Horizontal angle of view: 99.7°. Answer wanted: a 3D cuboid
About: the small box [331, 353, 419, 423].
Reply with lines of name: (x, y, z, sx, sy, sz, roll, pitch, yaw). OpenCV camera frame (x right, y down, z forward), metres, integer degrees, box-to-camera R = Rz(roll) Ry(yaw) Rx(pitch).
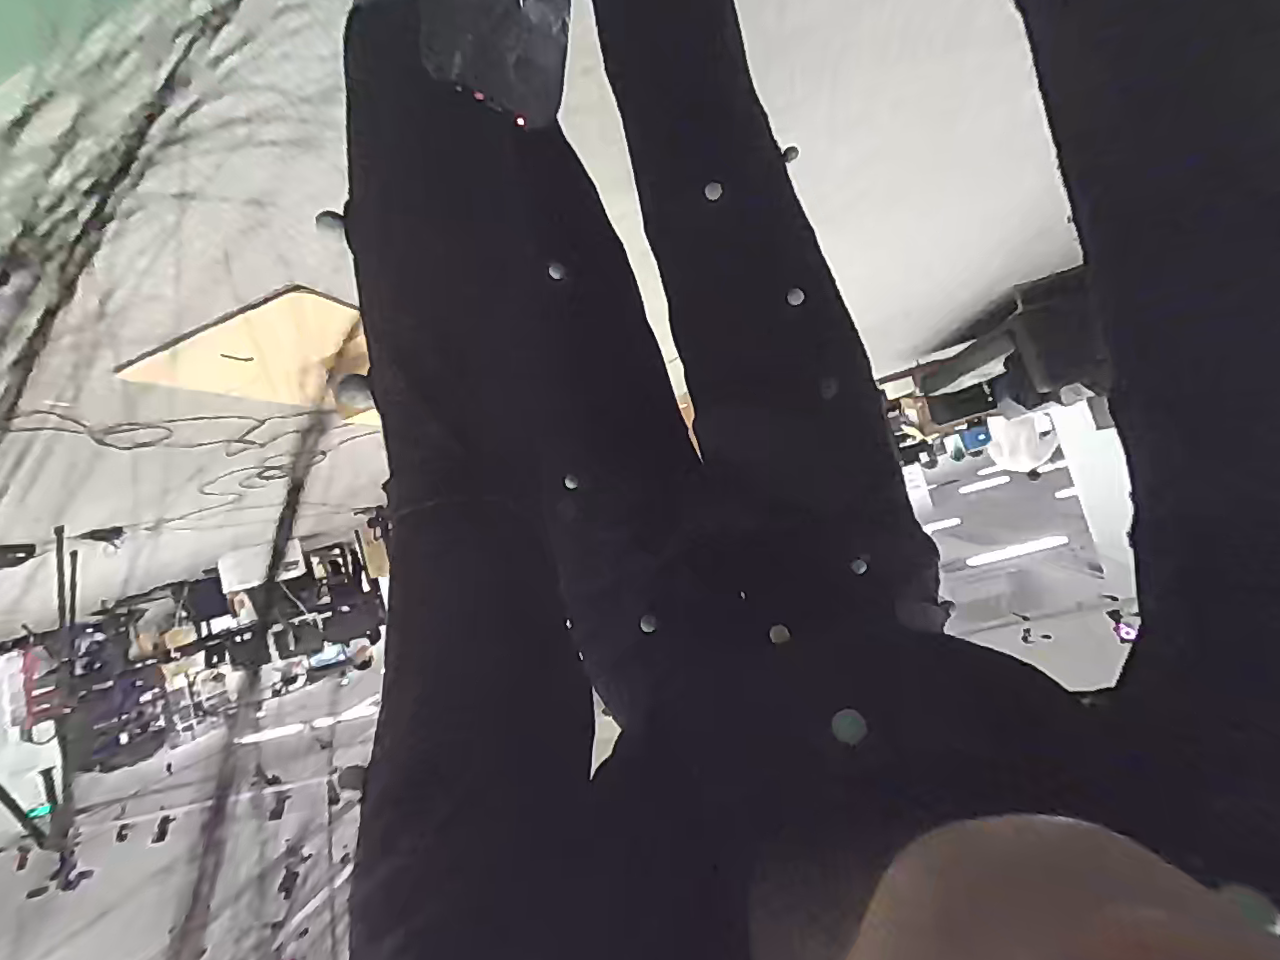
small box: (-0.853, -0.294, 1.735, 0.179, 0.176, 0.168, -17, 177, 15)
